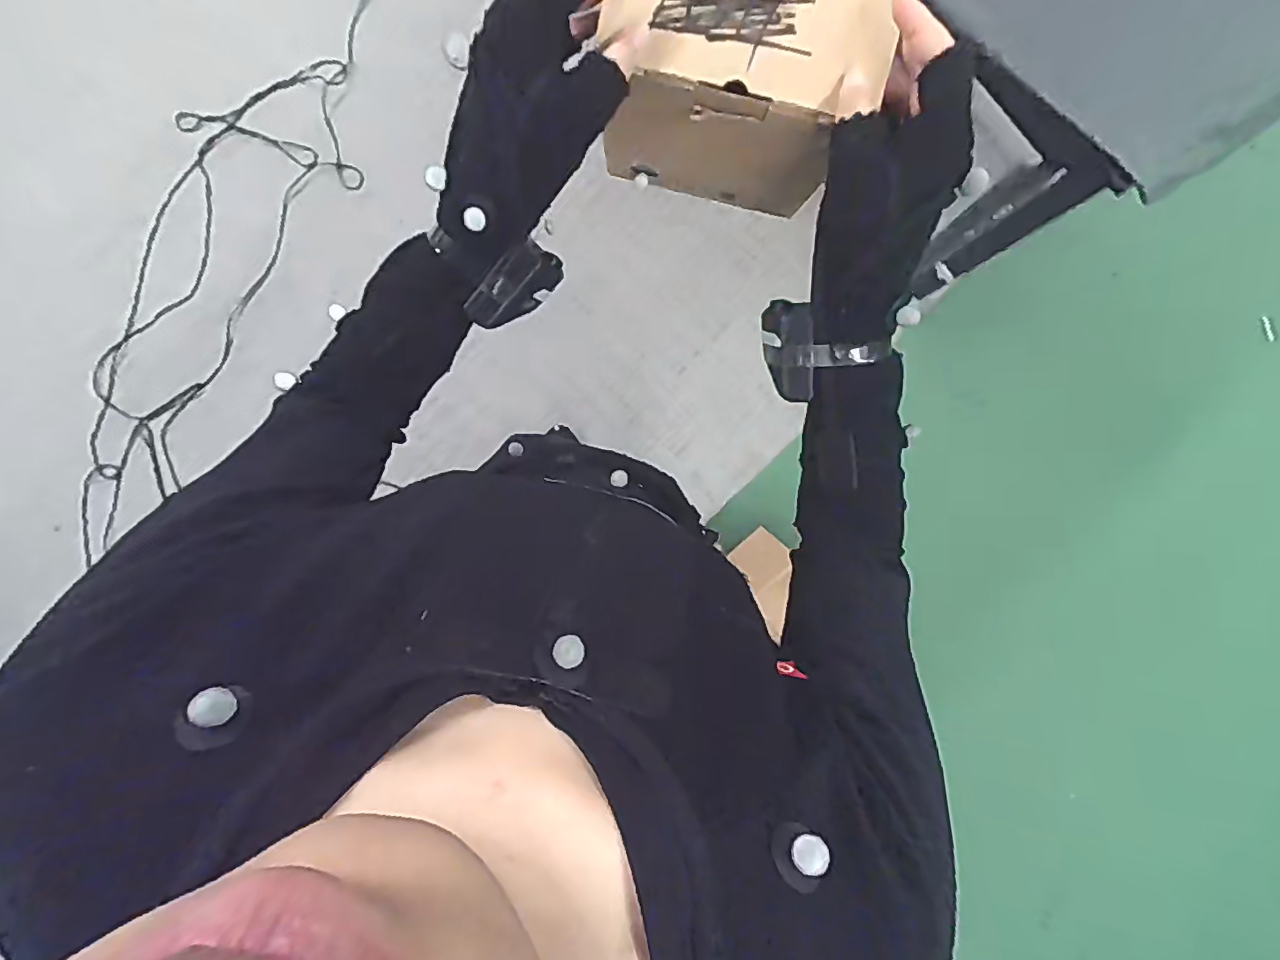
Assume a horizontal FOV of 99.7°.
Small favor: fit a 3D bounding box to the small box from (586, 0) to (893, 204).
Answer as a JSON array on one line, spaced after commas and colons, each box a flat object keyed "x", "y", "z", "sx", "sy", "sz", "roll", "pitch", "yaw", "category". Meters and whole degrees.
[{"x": 0.067, "y": -0.318, "z": 0.371, "sx": 0.168, "sy": 0.176, "sz": 0.179, "roll": 12, "pitch": 98, "yaw": -2, "category": "small box"}]
